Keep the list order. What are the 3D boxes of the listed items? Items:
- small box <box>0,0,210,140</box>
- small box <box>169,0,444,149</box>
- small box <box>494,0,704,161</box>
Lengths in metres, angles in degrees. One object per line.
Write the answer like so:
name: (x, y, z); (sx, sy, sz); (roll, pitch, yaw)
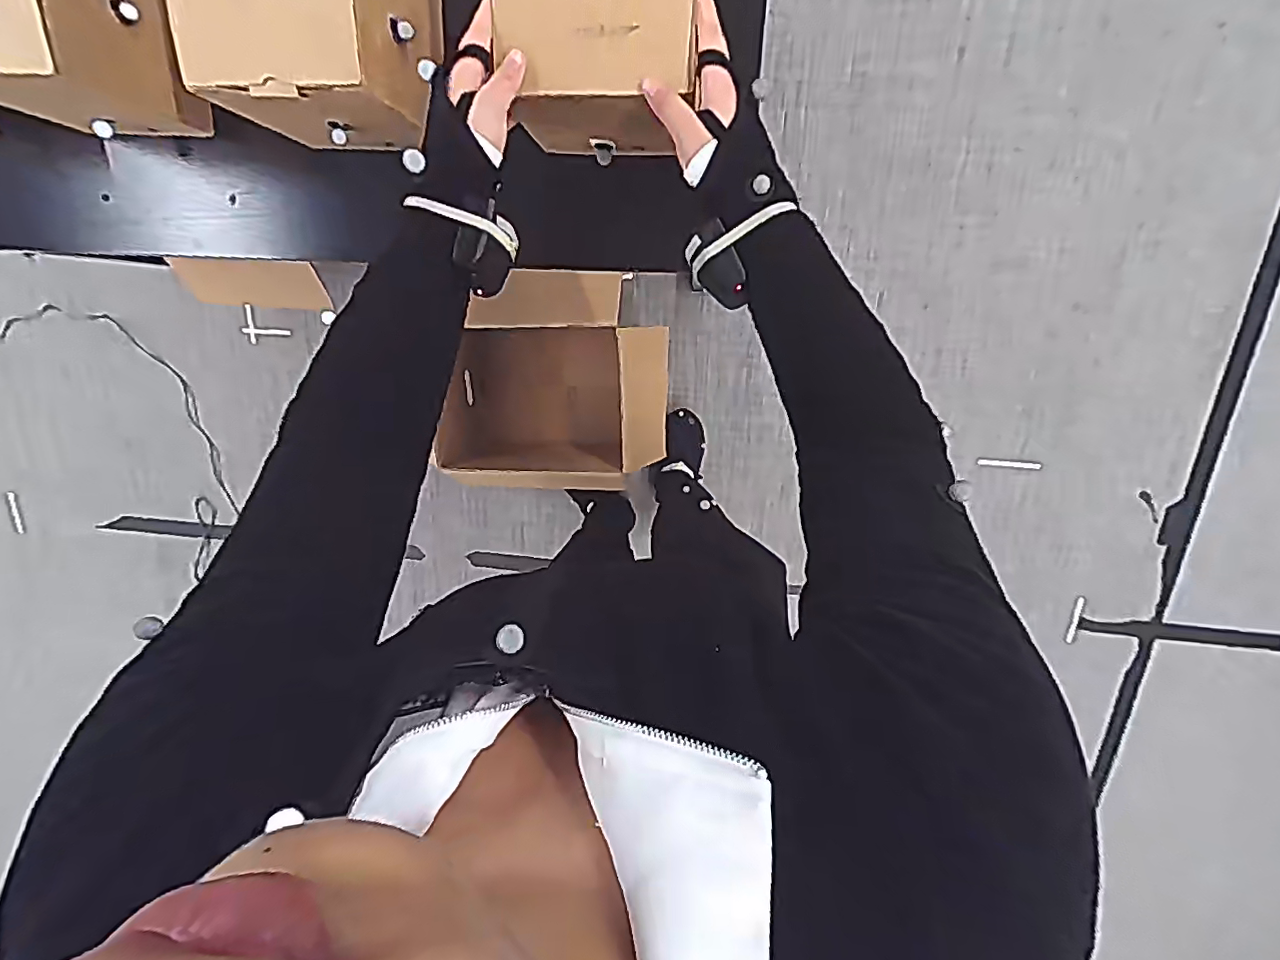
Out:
small box: (-0.575, -0.463, 0.530); (0.168, 0.176, 0.179); (5, 107, 4)
small box: (-0.301, -0.434, 0.514); (0.168, 0.176, 0.179); (5, 106, 5)
small box: (-0.027, -0.416, 0.495); (0.168, 0.176, 0.179); (3, 106, 6)
